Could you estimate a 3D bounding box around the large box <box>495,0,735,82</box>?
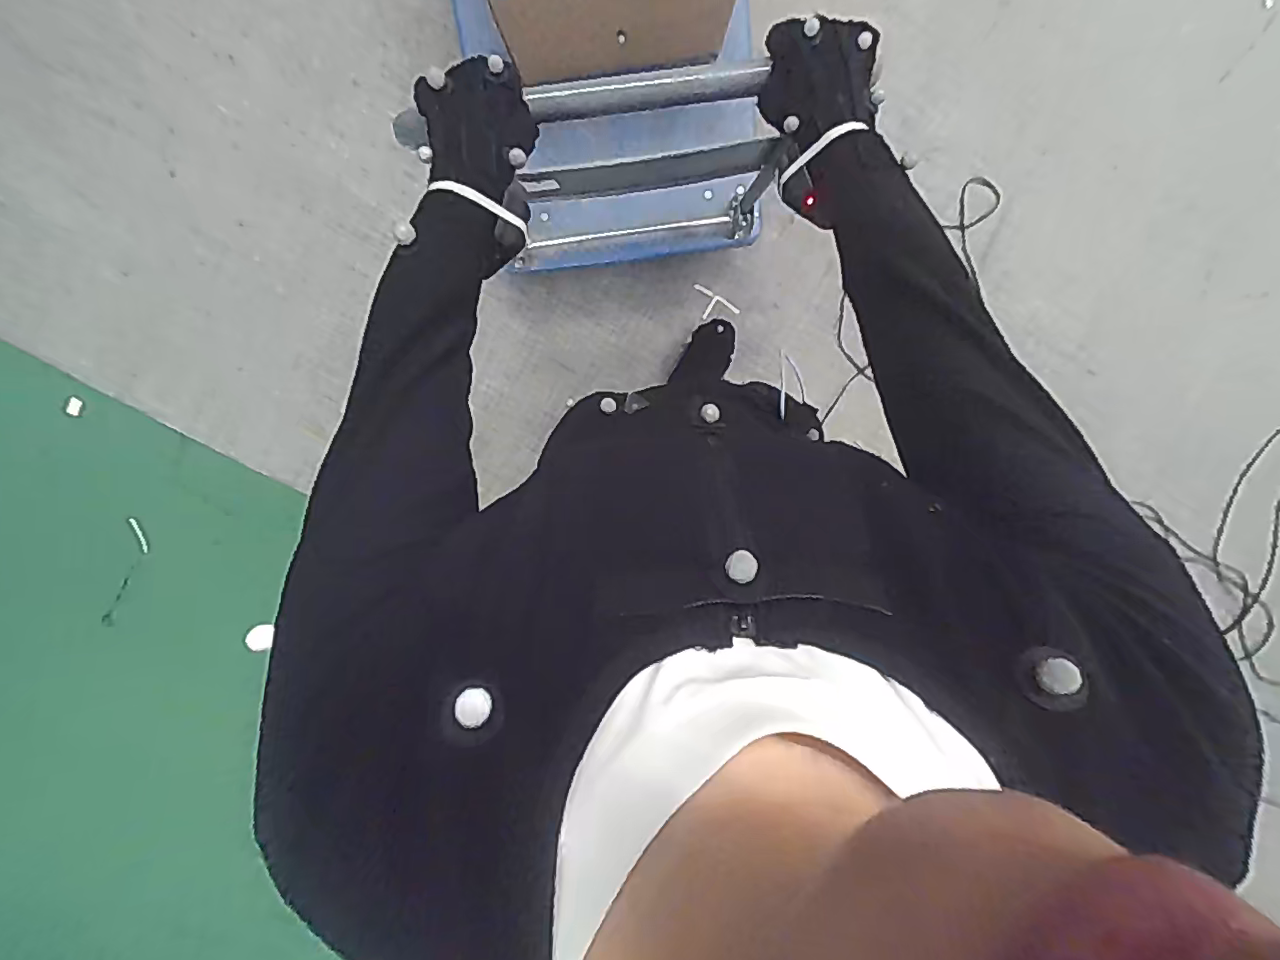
[{"bbox_3d":[-0.054,-0.945,0.913,0.408,0.320,0.320,-9,104,2],"label":"large box"}]
